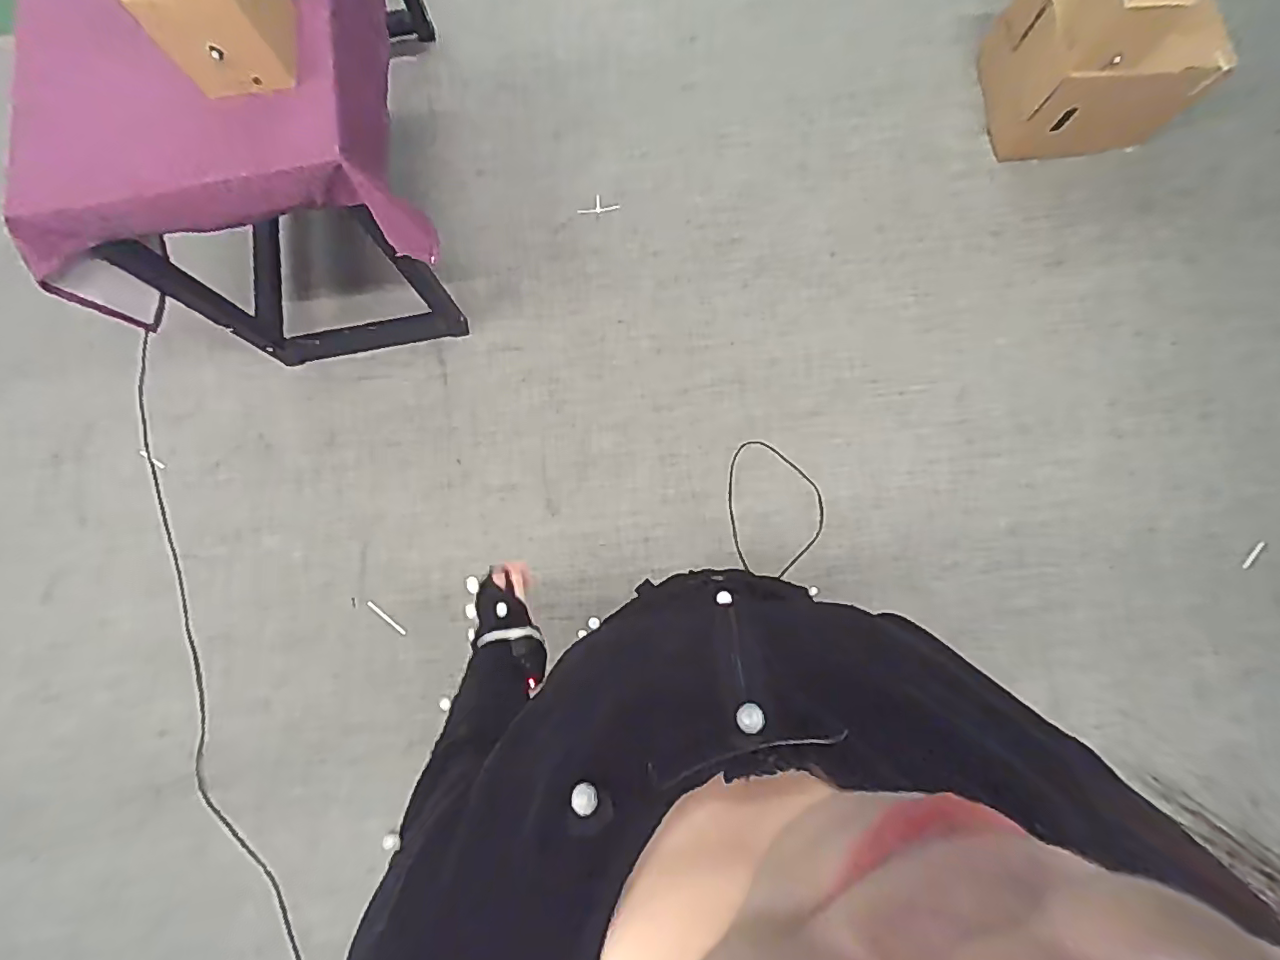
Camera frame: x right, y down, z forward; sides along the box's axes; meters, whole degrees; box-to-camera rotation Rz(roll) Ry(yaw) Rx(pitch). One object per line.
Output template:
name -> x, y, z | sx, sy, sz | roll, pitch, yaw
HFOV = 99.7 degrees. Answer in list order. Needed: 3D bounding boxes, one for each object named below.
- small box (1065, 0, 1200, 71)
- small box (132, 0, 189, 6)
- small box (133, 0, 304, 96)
small box -> 1.228, -1.172, 1.361 | 0.179, 0.176, 0.168 | 0, 79, 0
small box -> -0.718, -0.836, 0.770 | 0.168, 0.176, 0.179 | -7, 80, 1
small box -> -0.710, -0.800, 0.929 | 0.168, 0.176, 0.179 | -6, 79, 1
